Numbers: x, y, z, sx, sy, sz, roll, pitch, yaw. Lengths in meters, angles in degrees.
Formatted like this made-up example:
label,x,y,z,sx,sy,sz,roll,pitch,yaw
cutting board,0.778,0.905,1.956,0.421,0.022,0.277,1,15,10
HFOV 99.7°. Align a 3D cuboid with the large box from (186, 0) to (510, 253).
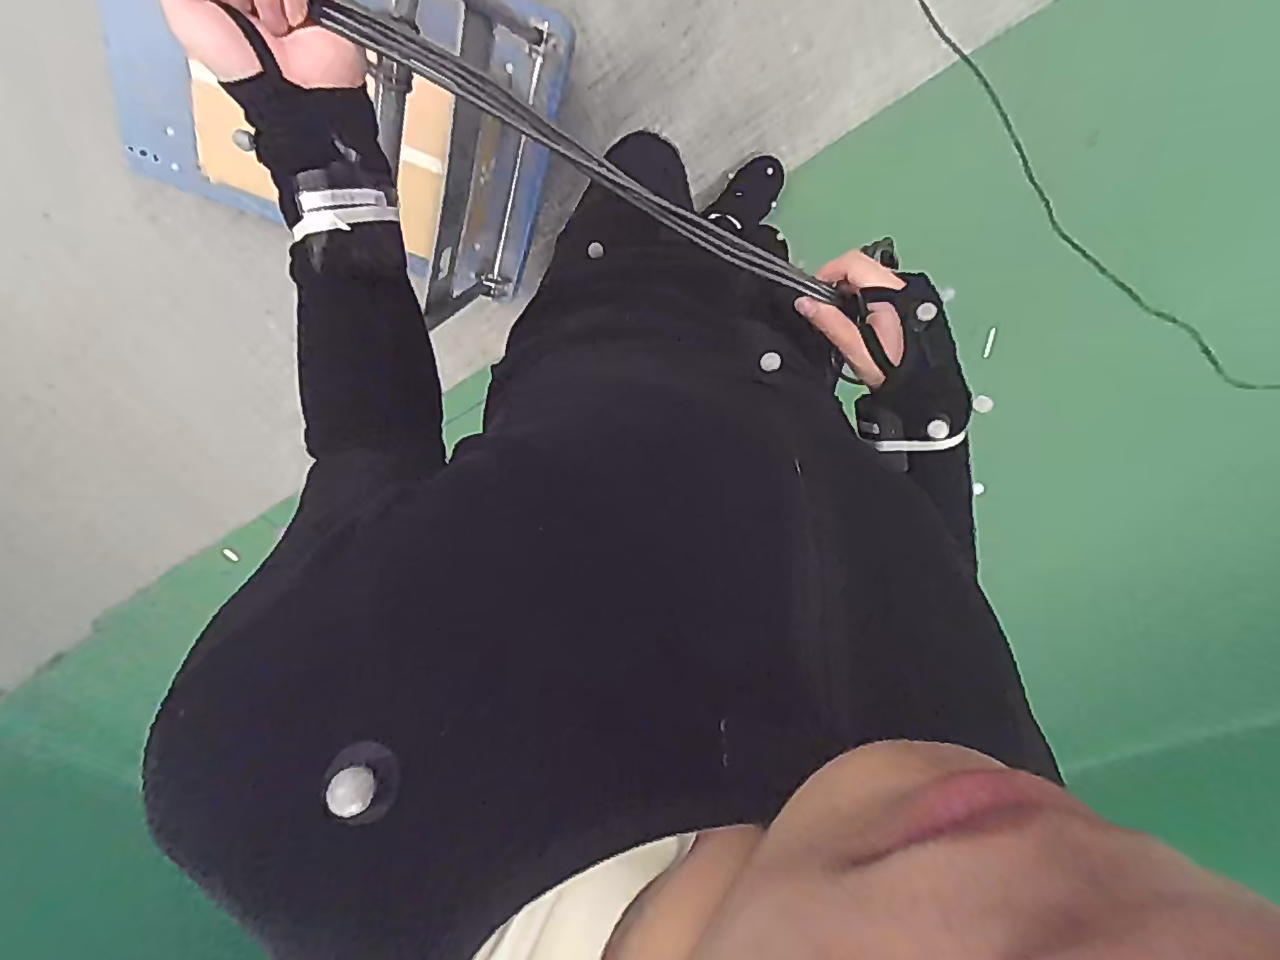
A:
label,x,y,z,sx,sy,sz,roll,pitch,yaw
large box,-0.489,-0.664,0.979,0.408,0.320,0.320,18,123,-9
